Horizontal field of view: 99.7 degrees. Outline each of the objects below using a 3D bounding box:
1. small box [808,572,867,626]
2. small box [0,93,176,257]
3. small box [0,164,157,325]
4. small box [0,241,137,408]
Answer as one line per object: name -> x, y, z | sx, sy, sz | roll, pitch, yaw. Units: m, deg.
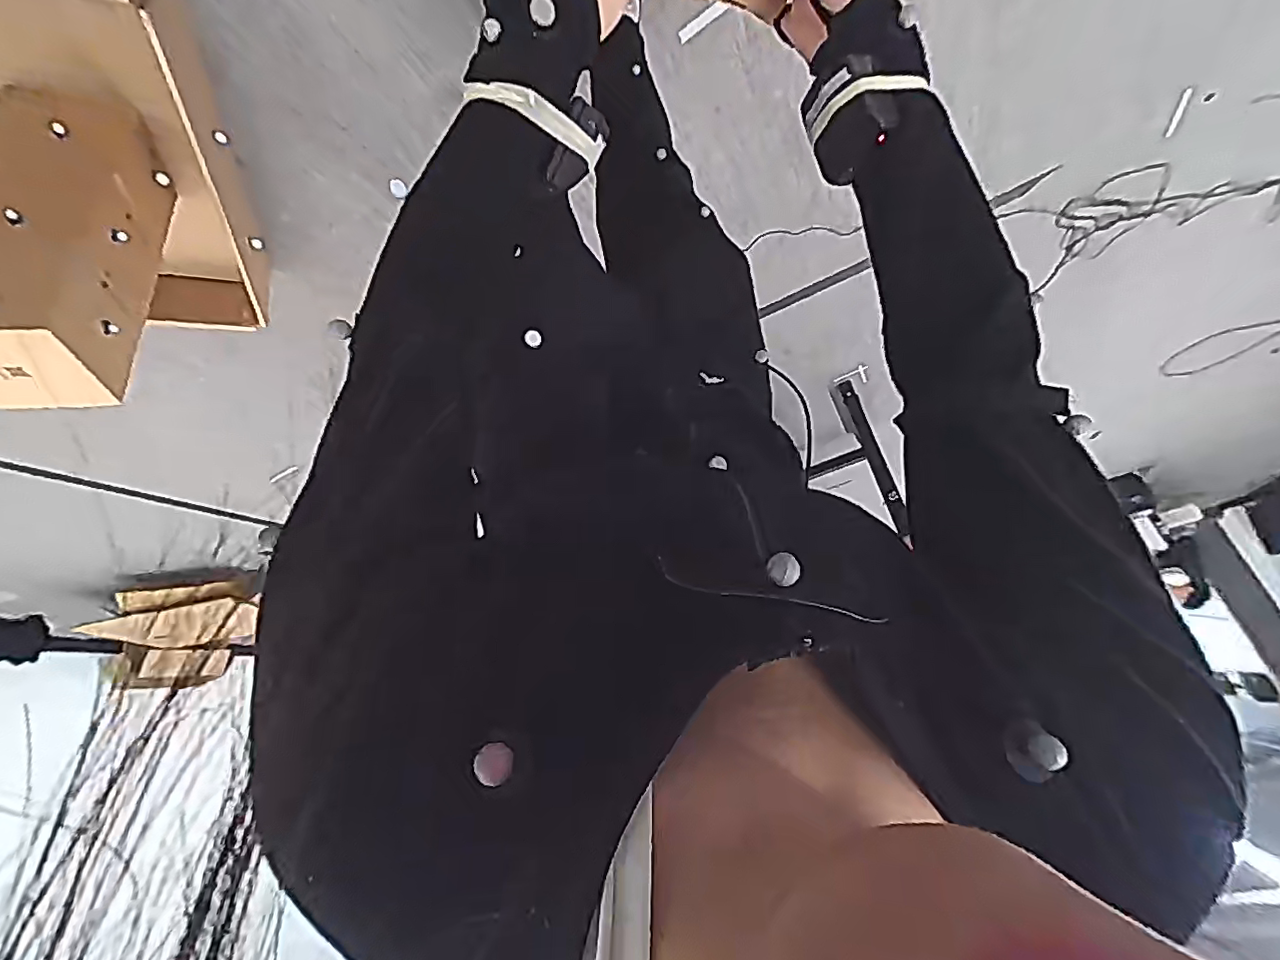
small box -> 0.794, 0.478, 2.176 | 0.168, 0.176, 0.179 | -23, 154, 21
small box -> -0.931, -0.510, 0.911 | 0.179, 0.176, 0.168 | -3, 153, -22
small box -> -0.904, -0.364, 0.847 | 0.179, 0.176, 0.168 | -3, 152, -16
small box -> -0.868, -0.221, 0.772 | 0.179, 0.176, 0.168 | -4, 152, -17
